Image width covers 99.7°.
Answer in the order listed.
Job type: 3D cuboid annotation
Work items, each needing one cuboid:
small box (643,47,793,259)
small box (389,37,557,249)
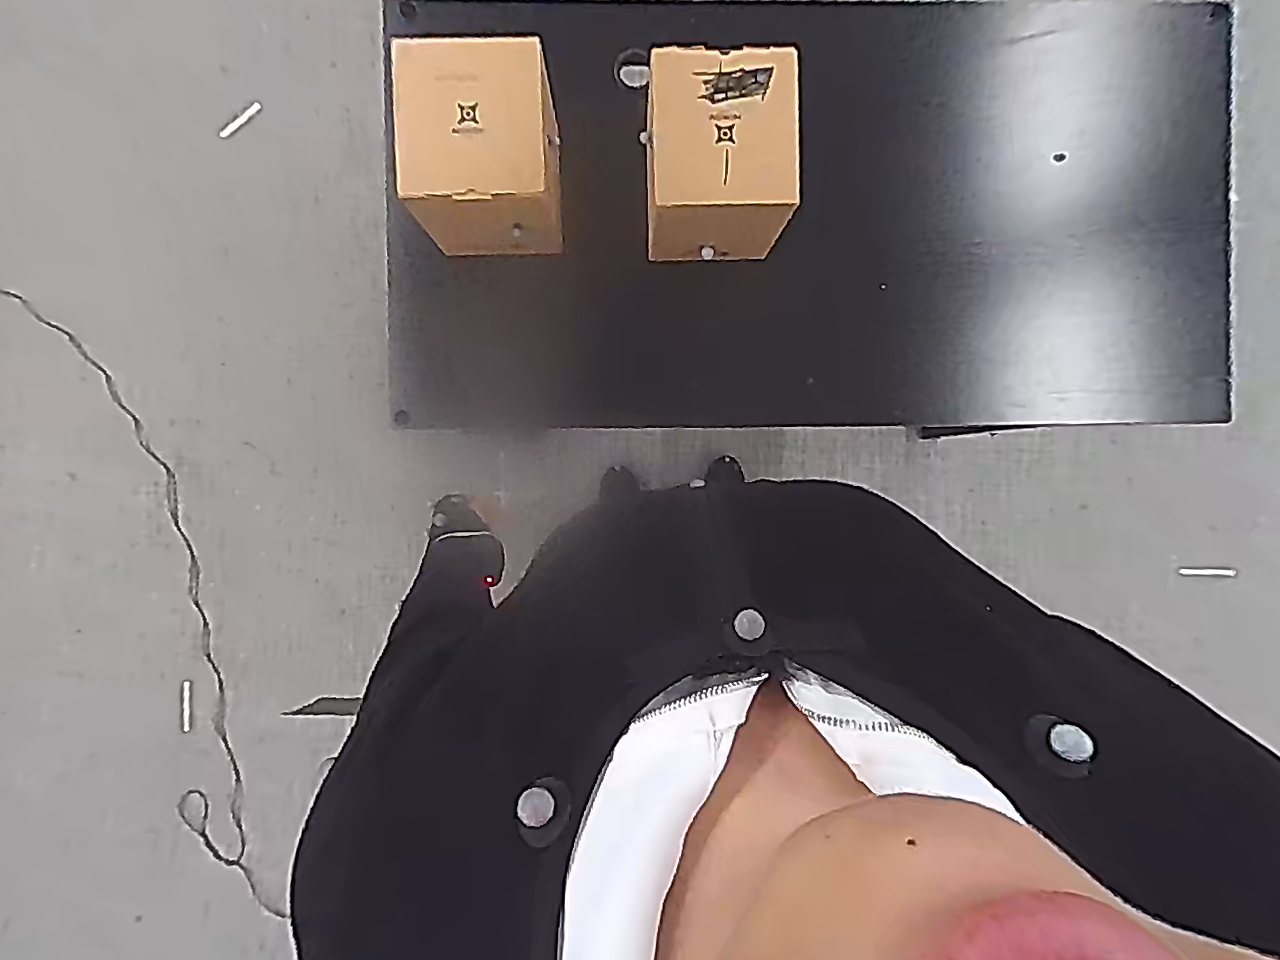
[{"bbox_3d":[0.089,-0.402,0.690,0.168,0.176,0.179,-1,92,-1],"label":"small box"},{"bbox_3d":[-0.198,-0.408,0.685,0.168,0.176,0.179,-2,90,-2],"label":"small box"}]
